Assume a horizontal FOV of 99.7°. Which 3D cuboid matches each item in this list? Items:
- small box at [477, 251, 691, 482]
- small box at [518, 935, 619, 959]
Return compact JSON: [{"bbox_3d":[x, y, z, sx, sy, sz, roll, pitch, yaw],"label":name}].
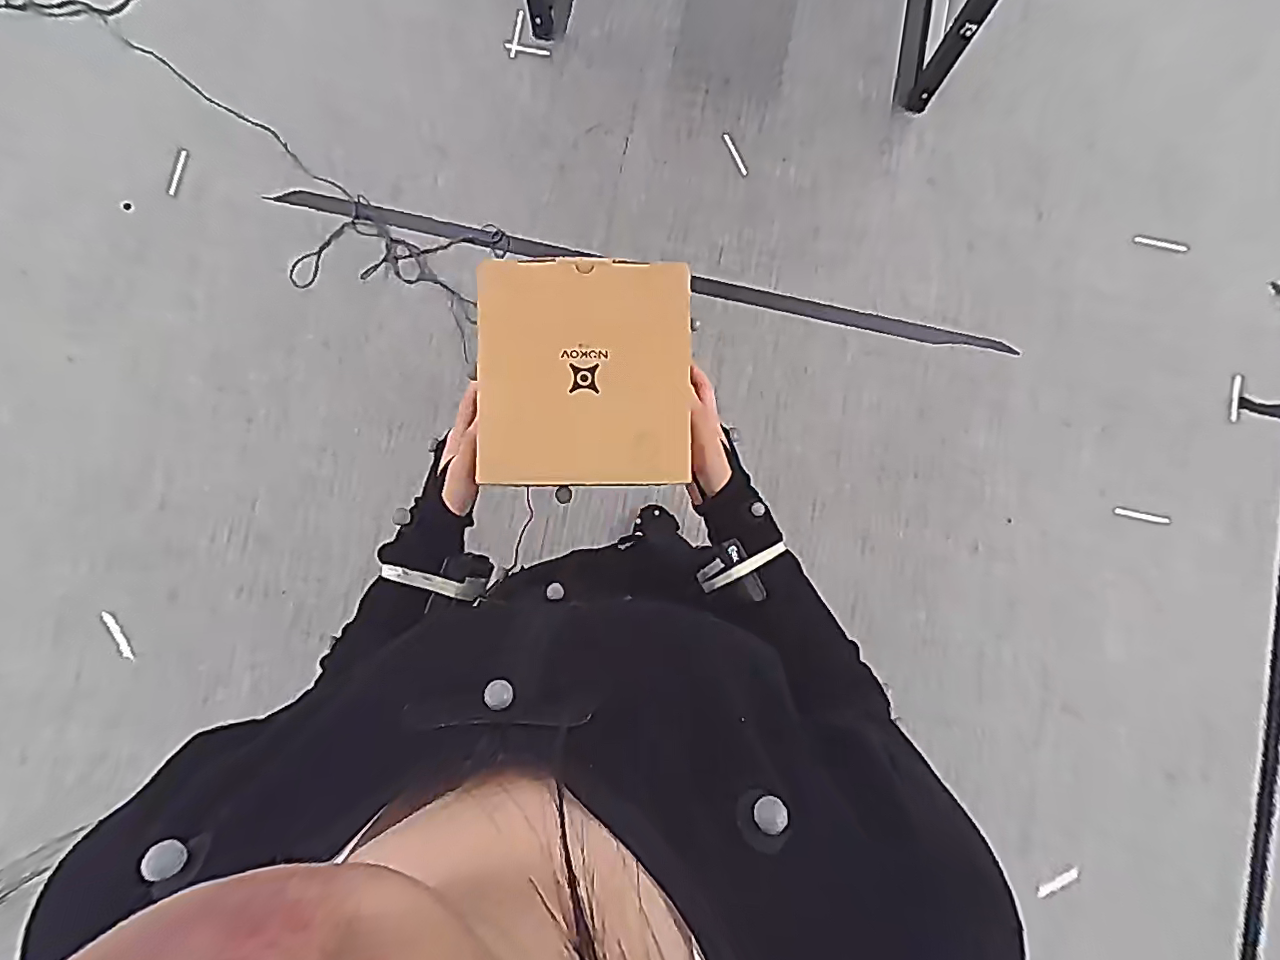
[{"bbox_3d":[-0.045,-0.086,0.492,0.168,0.176,0.179,-1,88,-3],"label":"small box"},{"bbox_3d":[-0.119,0.811,0.767,0.168,0.176,0.179,11,85,0],"label":"small box"}]
